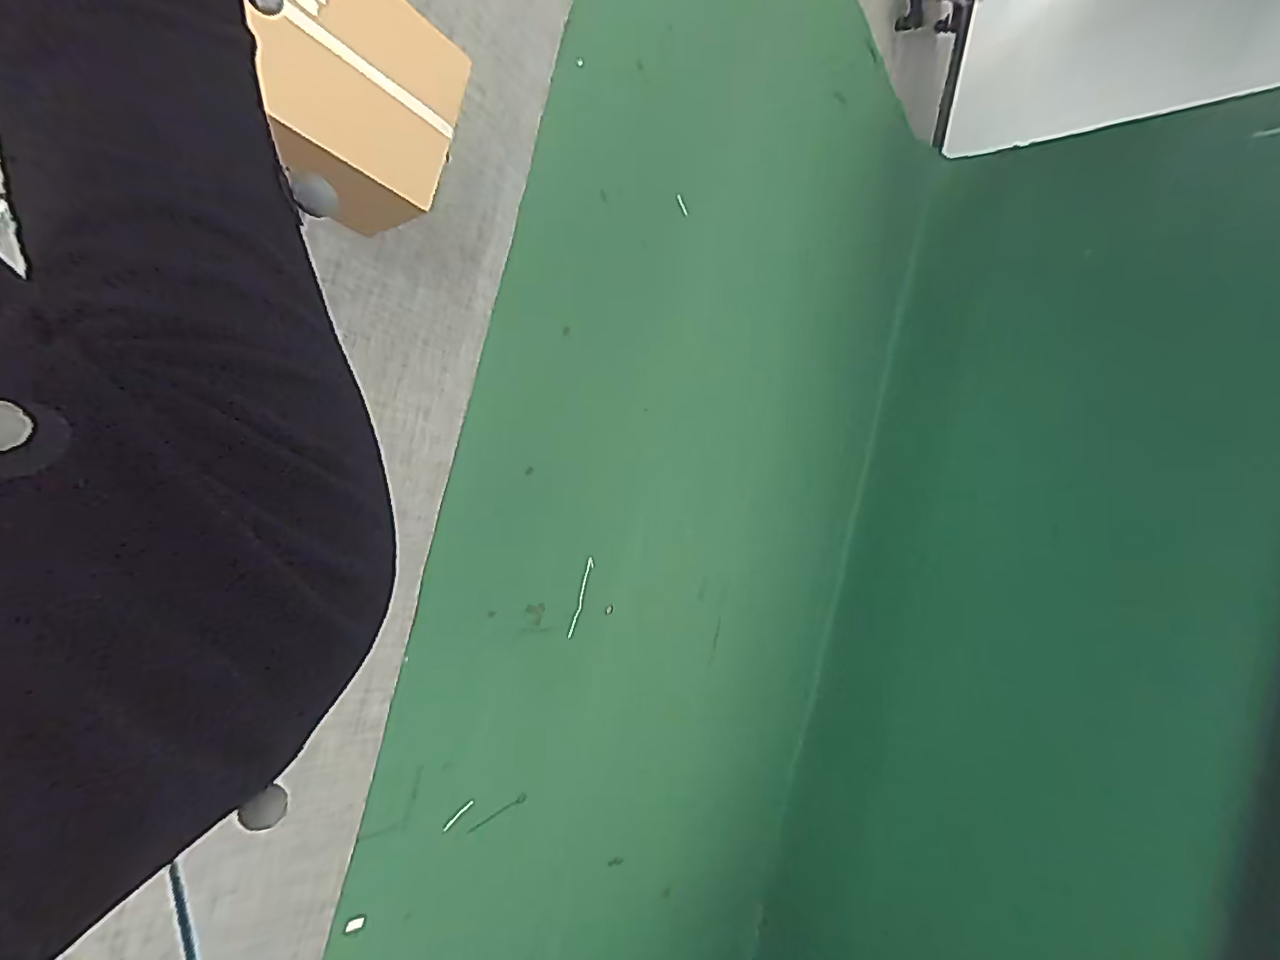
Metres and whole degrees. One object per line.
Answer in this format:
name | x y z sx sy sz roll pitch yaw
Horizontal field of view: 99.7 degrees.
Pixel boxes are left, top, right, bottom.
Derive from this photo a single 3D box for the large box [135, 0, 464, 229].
large box | -0.610 -0.725 0.993 0.408 0.320 0.320 18 85 -47
